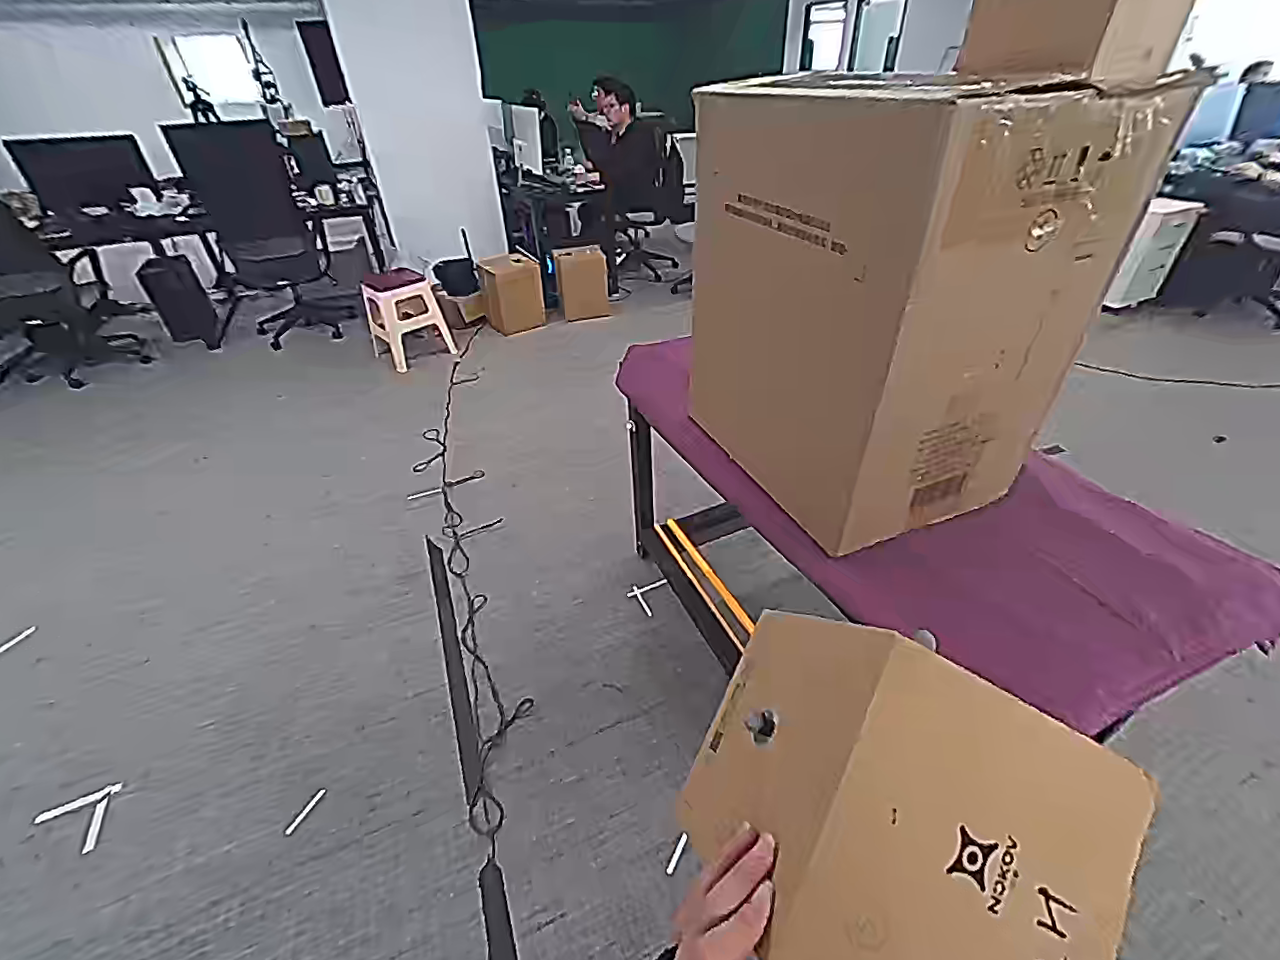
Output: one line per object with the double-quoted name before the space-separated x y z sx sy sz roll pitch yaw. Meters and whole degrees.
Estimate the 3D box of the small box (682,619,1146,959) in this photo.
"small box" 0.149 0.201 0.346 0.179 0.176 0.168 30 77 -6

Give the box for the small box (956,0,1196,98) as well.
"small box" 0.522 -0.562 0.639 0.168 0.176 0.179 -19 39 -21
